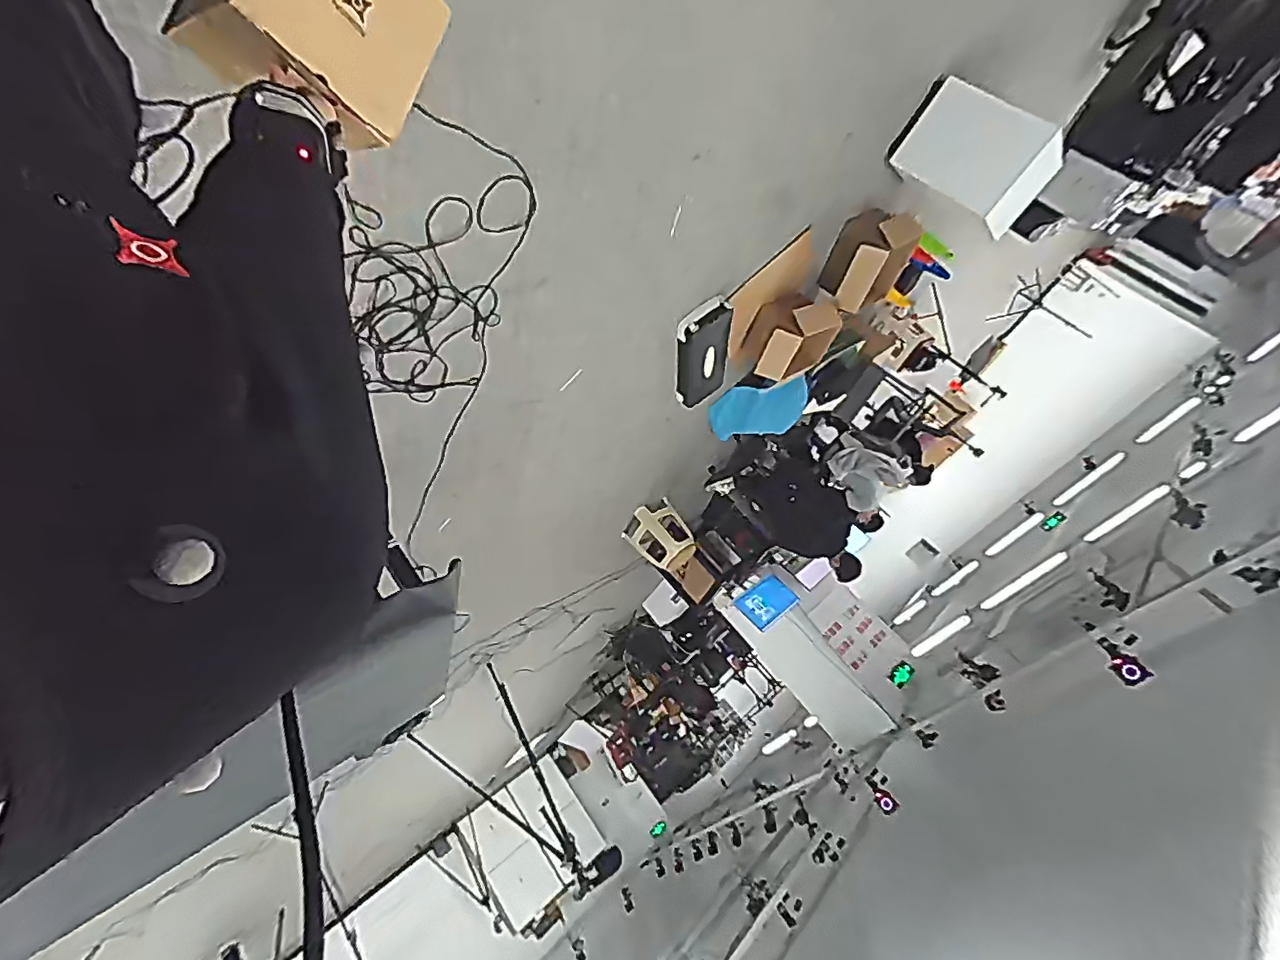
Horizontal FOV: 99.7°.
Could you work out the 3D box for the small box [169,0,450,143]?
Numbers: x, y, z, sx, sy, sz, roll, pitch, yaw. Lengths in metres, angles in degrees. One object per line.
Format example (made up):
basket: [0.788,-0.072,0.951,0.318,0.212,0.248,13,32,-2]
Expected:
small box: [-0.339,-0.484,0.559,0.168,0.176,0.179,28,81,-59]
